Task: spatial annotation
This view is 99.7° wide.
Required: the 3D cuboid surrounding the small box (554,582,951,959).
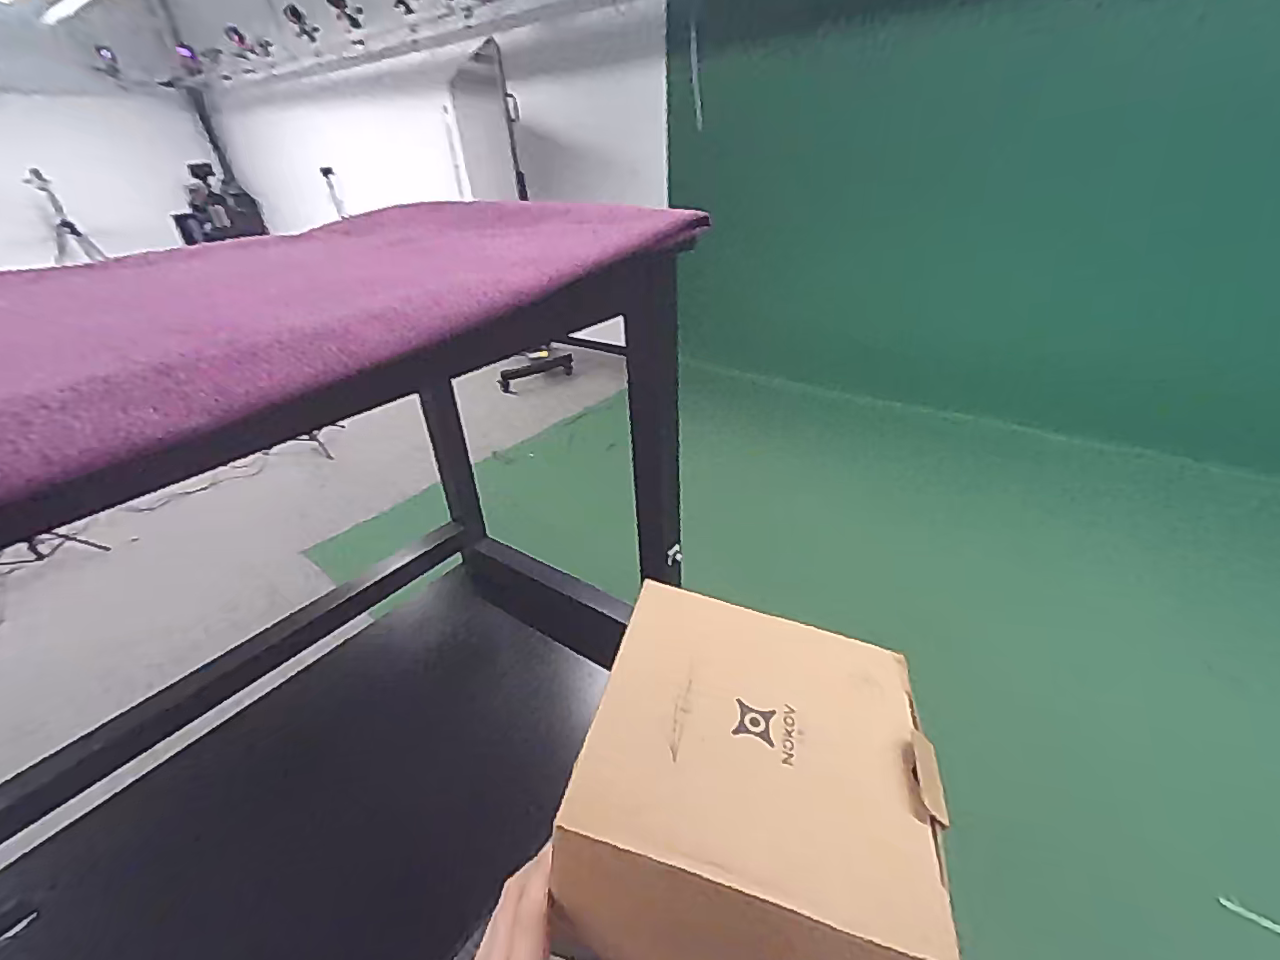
[{"bbox_3d":[0.057,0.199,0.344,0.179,0.176,0.168,14,32,9],"label":"small box"}]
